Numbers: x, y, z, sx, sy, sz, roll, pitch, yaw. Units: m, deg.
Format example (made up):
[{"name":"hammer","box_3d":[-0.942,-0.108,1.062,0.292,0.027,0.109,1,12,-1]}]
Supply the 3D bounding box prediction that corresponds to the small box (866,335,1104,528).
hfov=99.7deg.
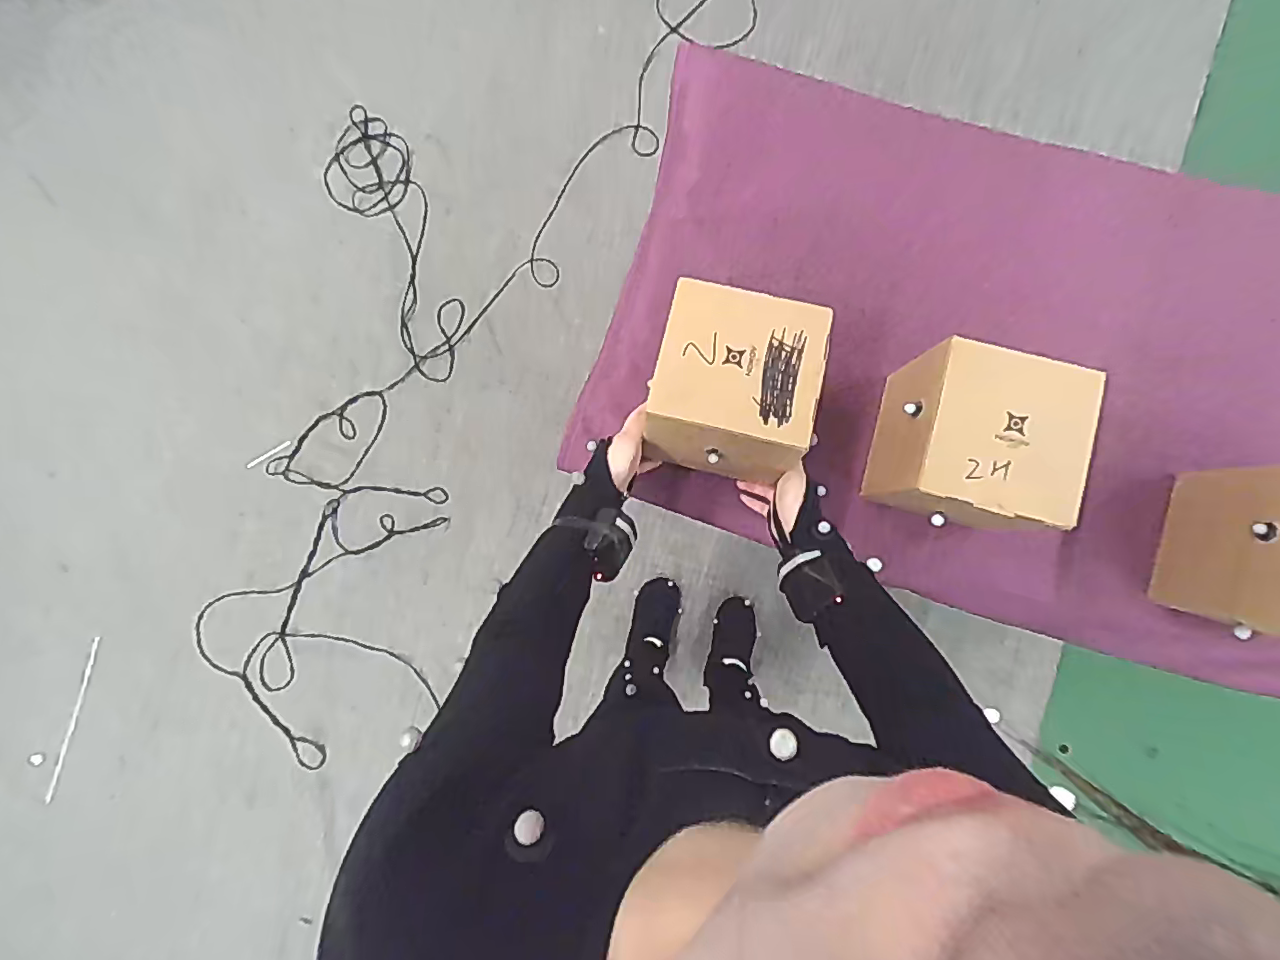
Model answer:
[{"name":"small box","box_3d":[0.394,-0.046,0.648,0.168,0.176,0.179,14,86,4]}]

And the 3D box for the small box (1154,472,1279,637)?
[{"name":"small box","box_3d":[0.764,0.091,0.628,0.168,0.176,0.179,16,87,3]}]
